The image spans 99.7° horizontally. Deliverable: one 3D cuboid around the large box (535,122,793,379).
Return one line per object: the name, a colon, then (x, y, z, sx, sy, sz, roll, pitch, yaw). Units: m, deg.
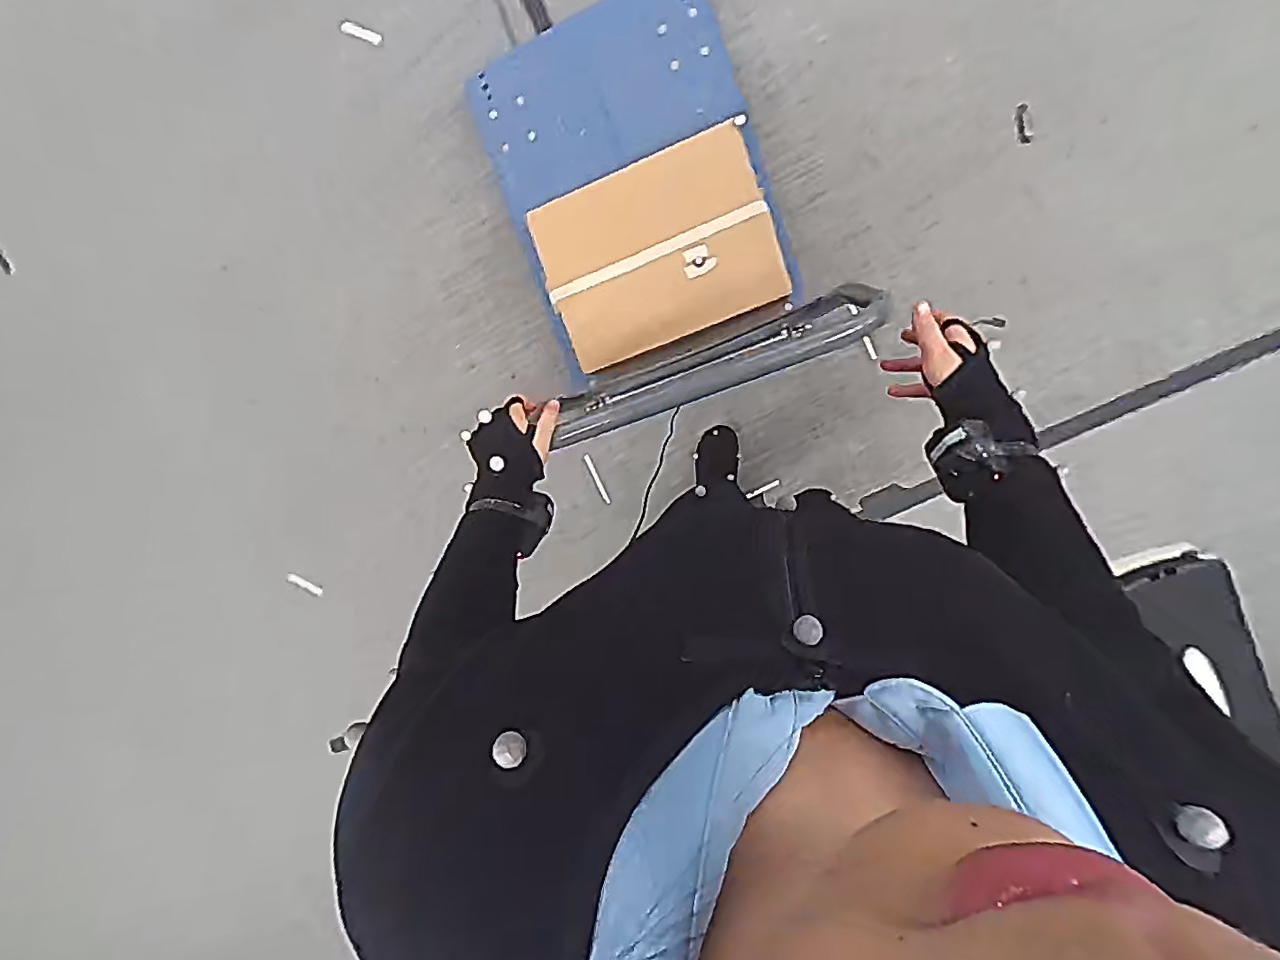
large box: (0.056, -0.430, 1.123, 0.408, 0.320, 0.320, -19, 96, 10)
